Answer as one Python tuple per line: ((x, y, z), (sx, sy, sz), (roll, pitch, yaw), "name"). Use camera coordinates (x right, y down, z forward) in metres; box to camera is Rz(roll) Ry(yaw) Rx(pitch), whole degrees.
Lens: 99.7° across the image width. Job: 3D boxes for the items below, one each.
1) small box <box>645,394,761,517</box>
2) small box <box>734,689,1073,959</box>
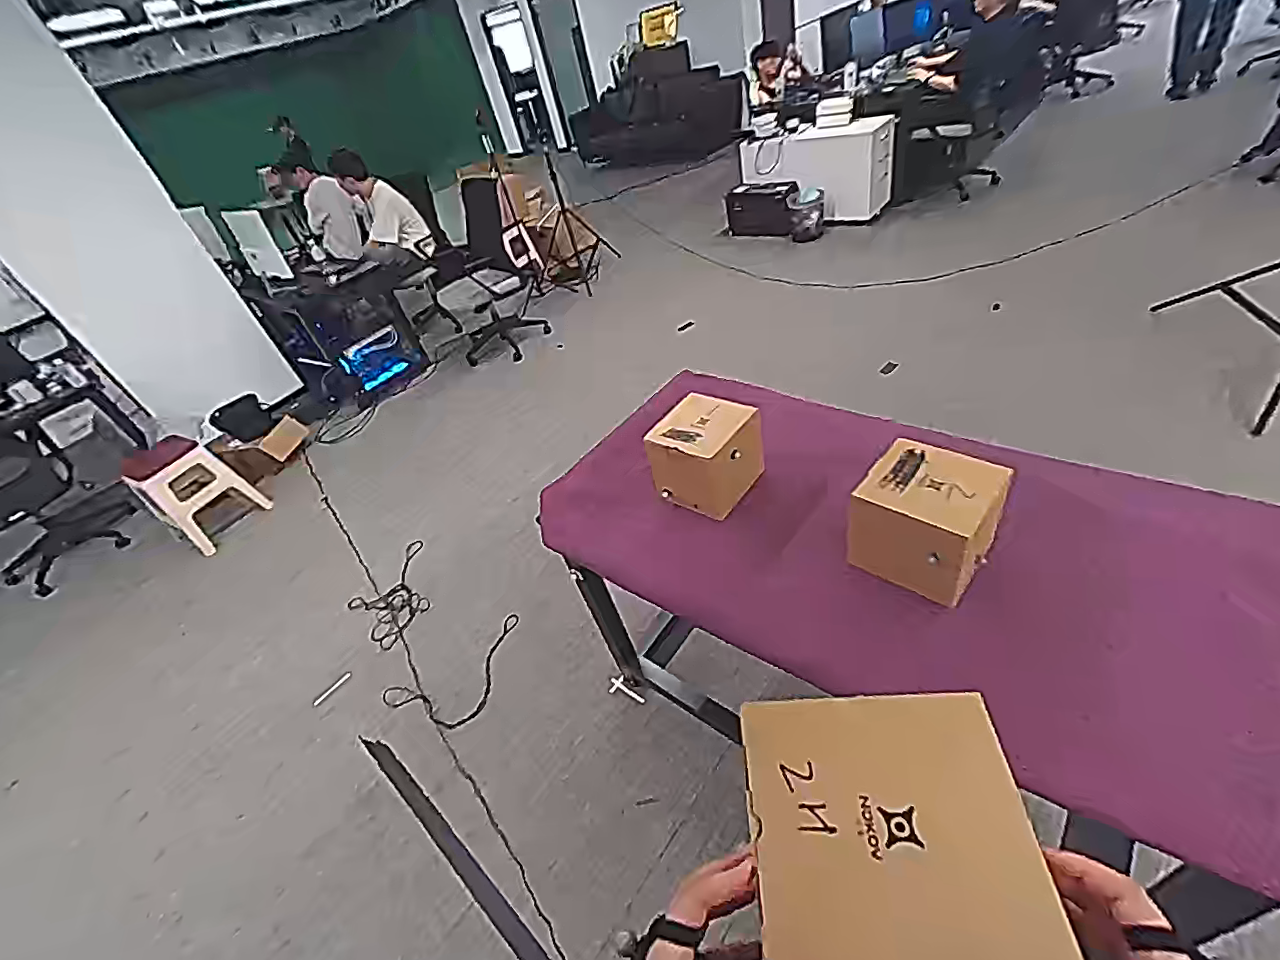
((0.139, -0.051, 1.128), (0.168, 0.176, 0.179), (21, 53, 36), "small box")
((0.169, 0.273, 0.413), (0.179, 0.176, 0.168), (-6, 47, 9), "small box")
